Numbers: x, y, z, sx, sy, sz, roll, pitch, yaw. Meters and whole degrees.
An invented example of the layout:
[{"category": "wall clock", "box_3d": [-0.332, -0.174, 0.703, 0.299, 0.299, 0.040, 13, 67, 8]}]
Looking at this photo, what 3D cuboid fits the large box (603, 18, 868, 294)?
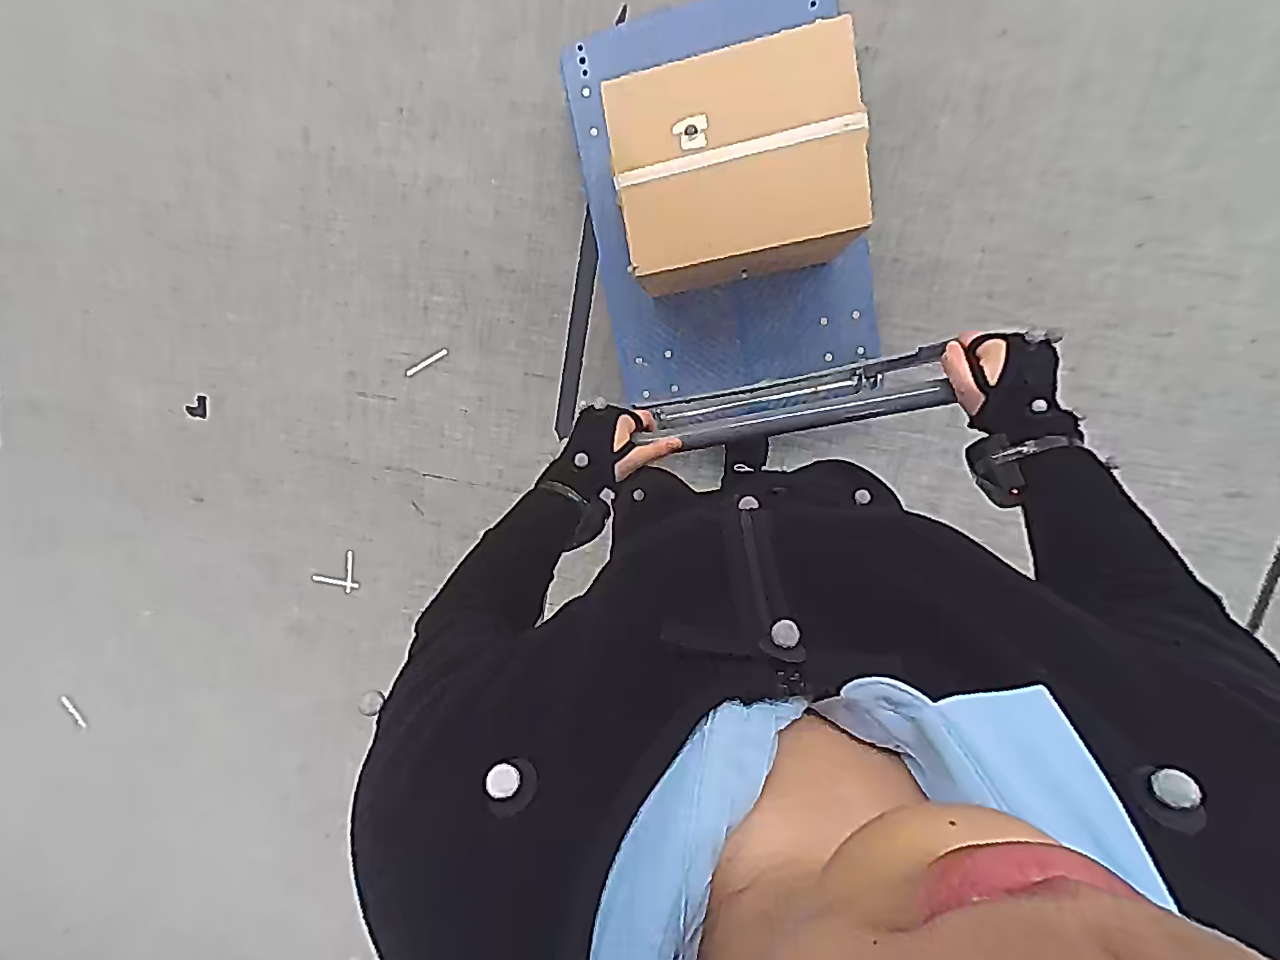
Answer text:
[{"category": "large box", "box_3d": [0.179, -0.575, 1.047, 0.408, 0.320, 0.320, -9, 100, 10]}]
